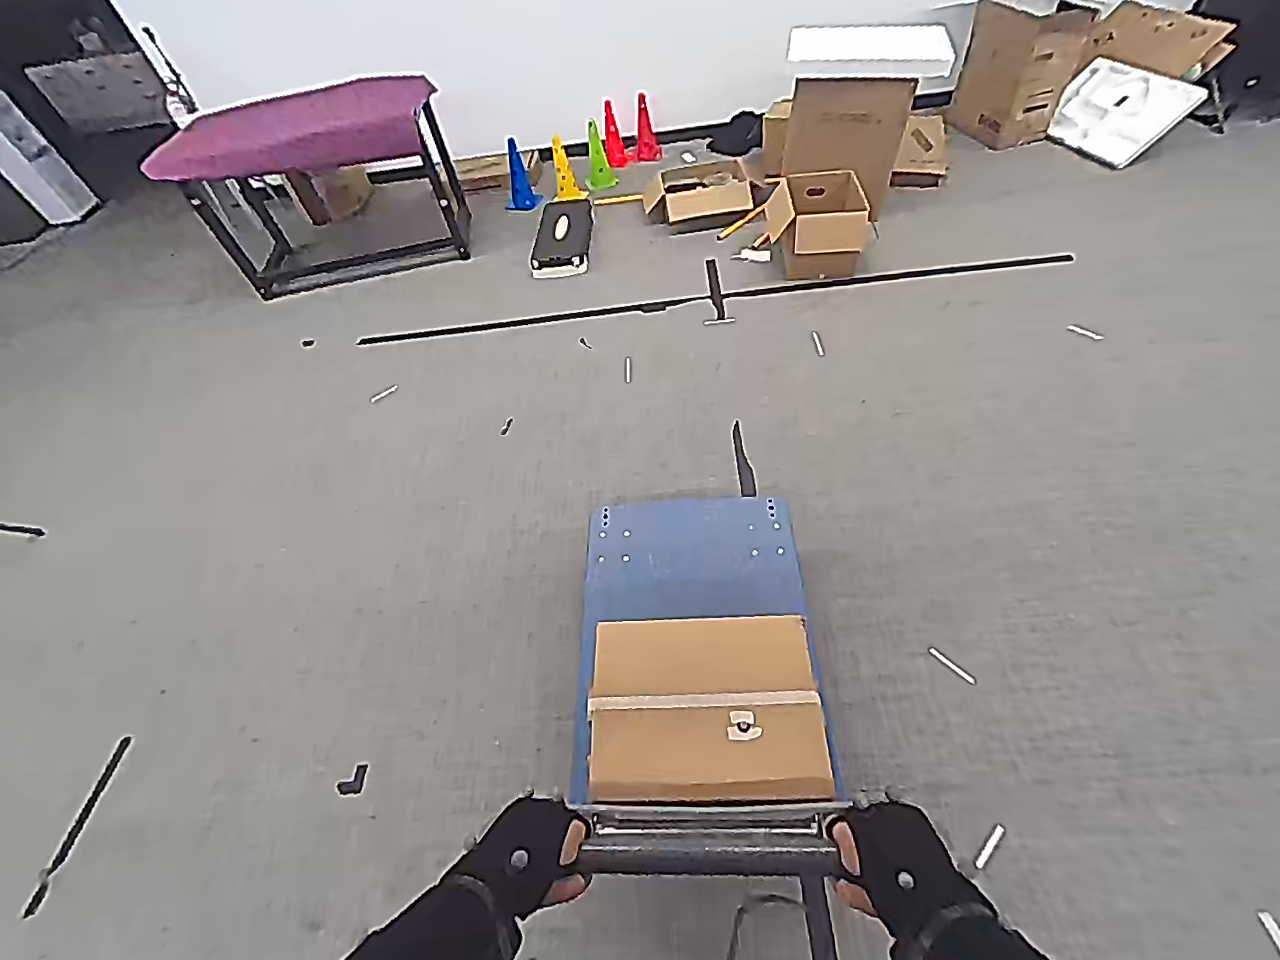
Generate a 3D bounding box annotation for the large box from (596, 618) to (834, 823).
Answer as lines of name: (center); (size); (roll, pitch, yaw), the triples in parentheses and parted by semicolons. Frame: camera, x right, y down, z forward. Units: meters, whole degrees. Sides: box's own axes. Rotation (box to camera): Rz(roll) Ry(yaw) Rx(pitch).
large box: (0.131, 0.496, 1.101); (0.408, 0.320, 0.320); (-3, 53, 4)
